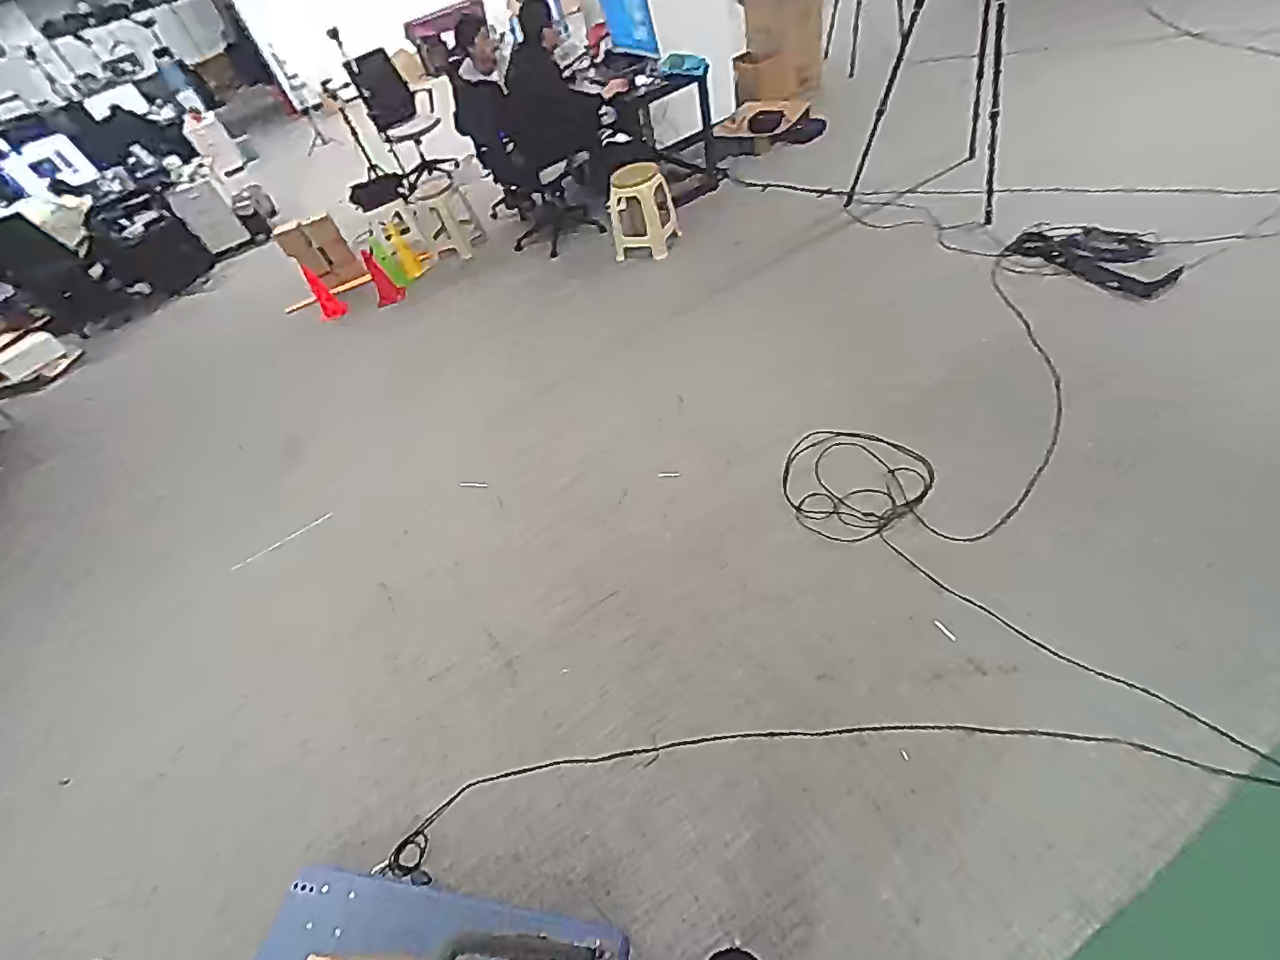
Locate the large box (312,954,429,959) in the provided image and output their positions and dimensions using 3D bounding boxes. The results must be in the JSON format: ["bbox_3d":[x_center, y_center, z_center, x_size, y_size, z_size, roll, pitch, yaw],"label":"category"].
[{"bbox_3d":[-0.390,1.066,0.944,0.408,0.320,0.320,-2,49,16],"label":"large box"}]
